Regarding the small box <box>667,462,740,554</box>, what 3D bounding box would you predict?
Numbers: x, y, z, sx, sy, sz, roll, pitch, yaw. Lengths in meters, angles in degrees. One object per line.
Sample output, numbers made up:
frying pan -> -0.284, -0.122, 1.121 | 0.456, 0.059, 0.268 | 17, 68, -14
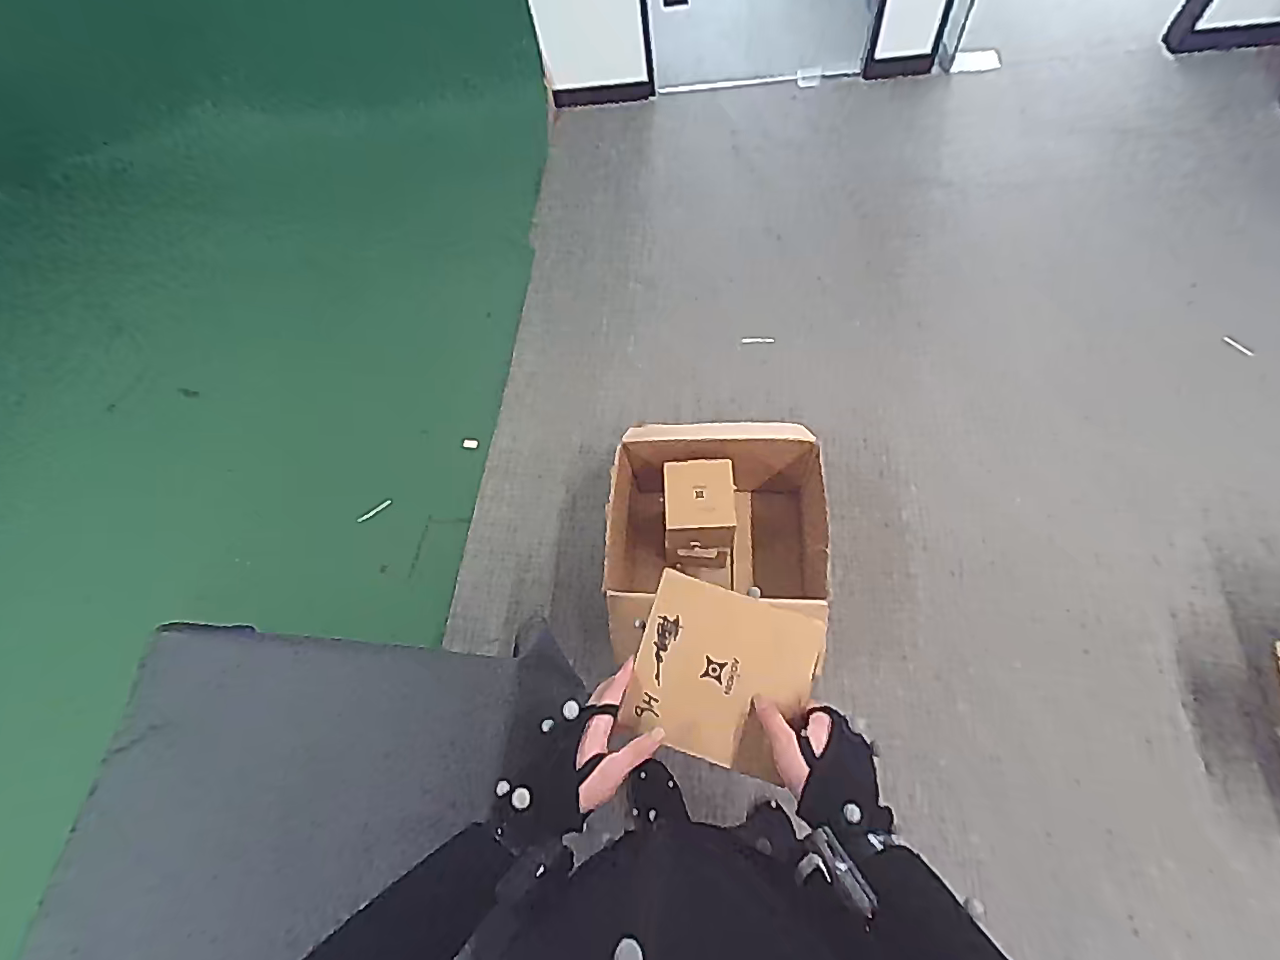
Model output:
small box -> 0.150, 0.072, 1.336 | 0.168, 0.176, 0.179 | -3, 65, 4

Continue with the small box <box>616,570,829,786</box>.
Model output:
small box -> 0.088, 0.208, 0.619 | 0.179, 0.176, 0.168 | 18, 80, 7
